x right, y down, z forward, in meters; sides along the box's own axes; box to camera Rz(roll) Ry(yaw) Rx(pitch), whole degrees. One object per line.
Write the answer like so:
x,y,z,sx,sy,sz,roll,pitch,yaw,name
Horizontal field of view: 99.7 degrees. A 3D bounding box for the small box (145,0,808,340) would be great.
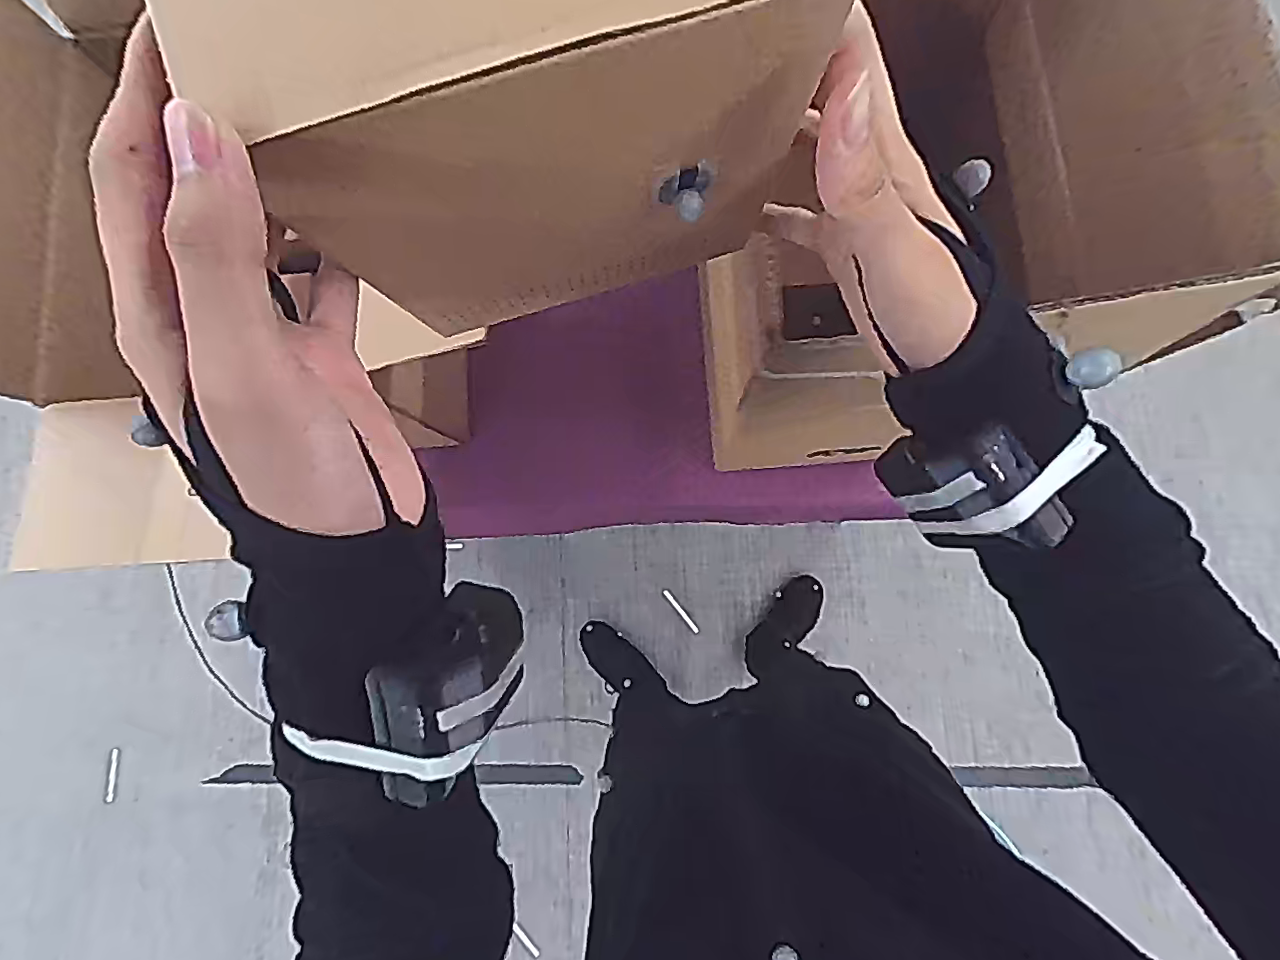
-0.058,-0.177,0.226,0.179,0.176,0.168,-17,89,1,small box
